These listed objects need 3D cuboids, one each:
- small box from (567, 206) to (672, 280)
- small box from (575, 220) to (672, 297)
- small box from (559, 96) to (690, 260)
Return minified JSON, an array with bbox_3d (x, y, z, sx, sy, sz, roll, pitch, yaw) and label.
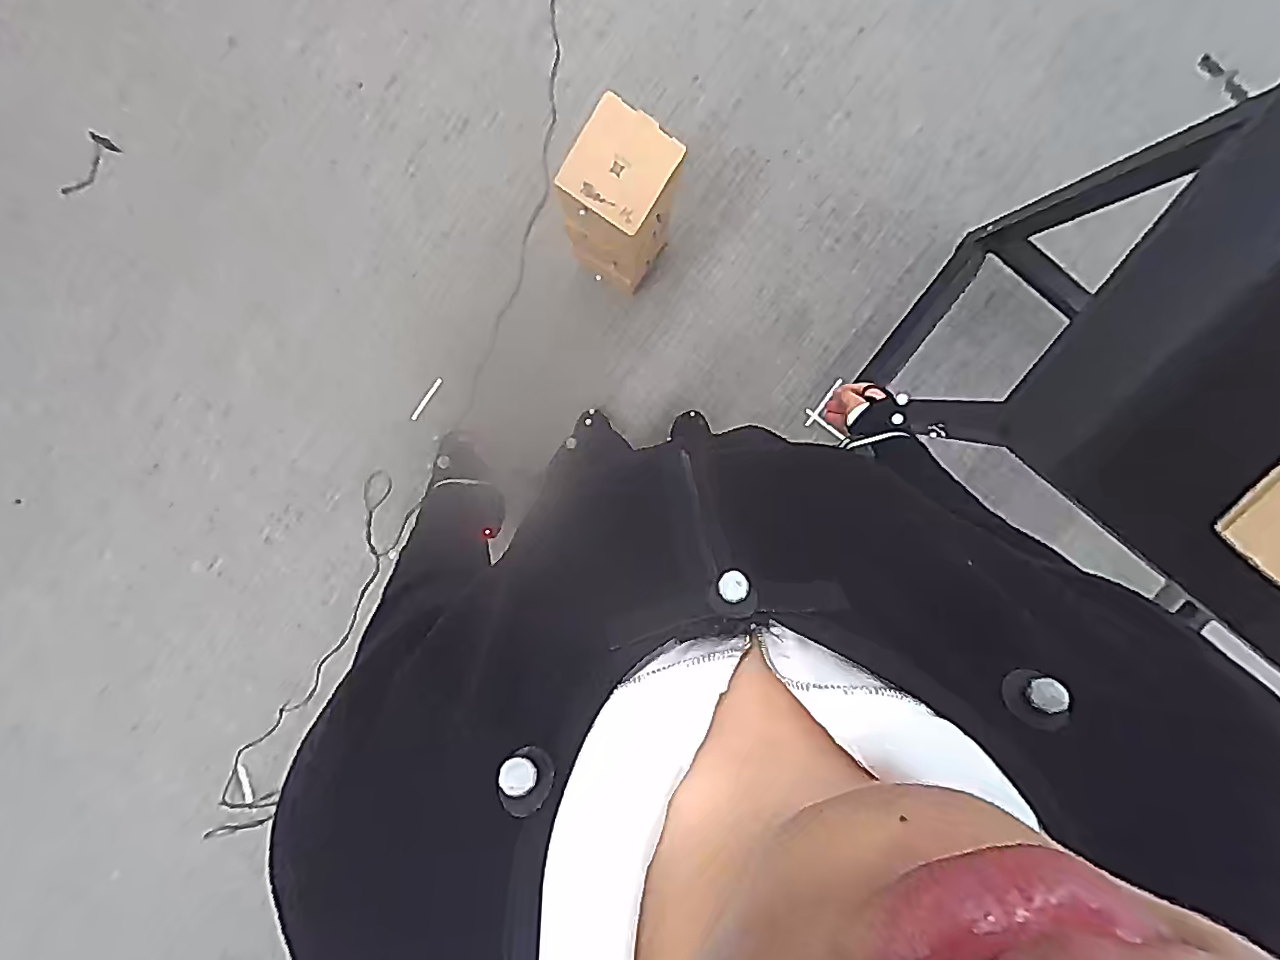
[{"bbox_3d":[-0.037,-0.560,1.167,0.168,0.176,0.179,29,96,-5],"label":"small box"},{"bbox_3d":[-0.039,-0.578,1.328,0.168,0.176,0.179,33,98,-4],"label":"small box"},{"bbox_3d":[-0.030,-0.545,1.003,0.168,0.176,0.179,33,96,-5],"label":"small box"}]
